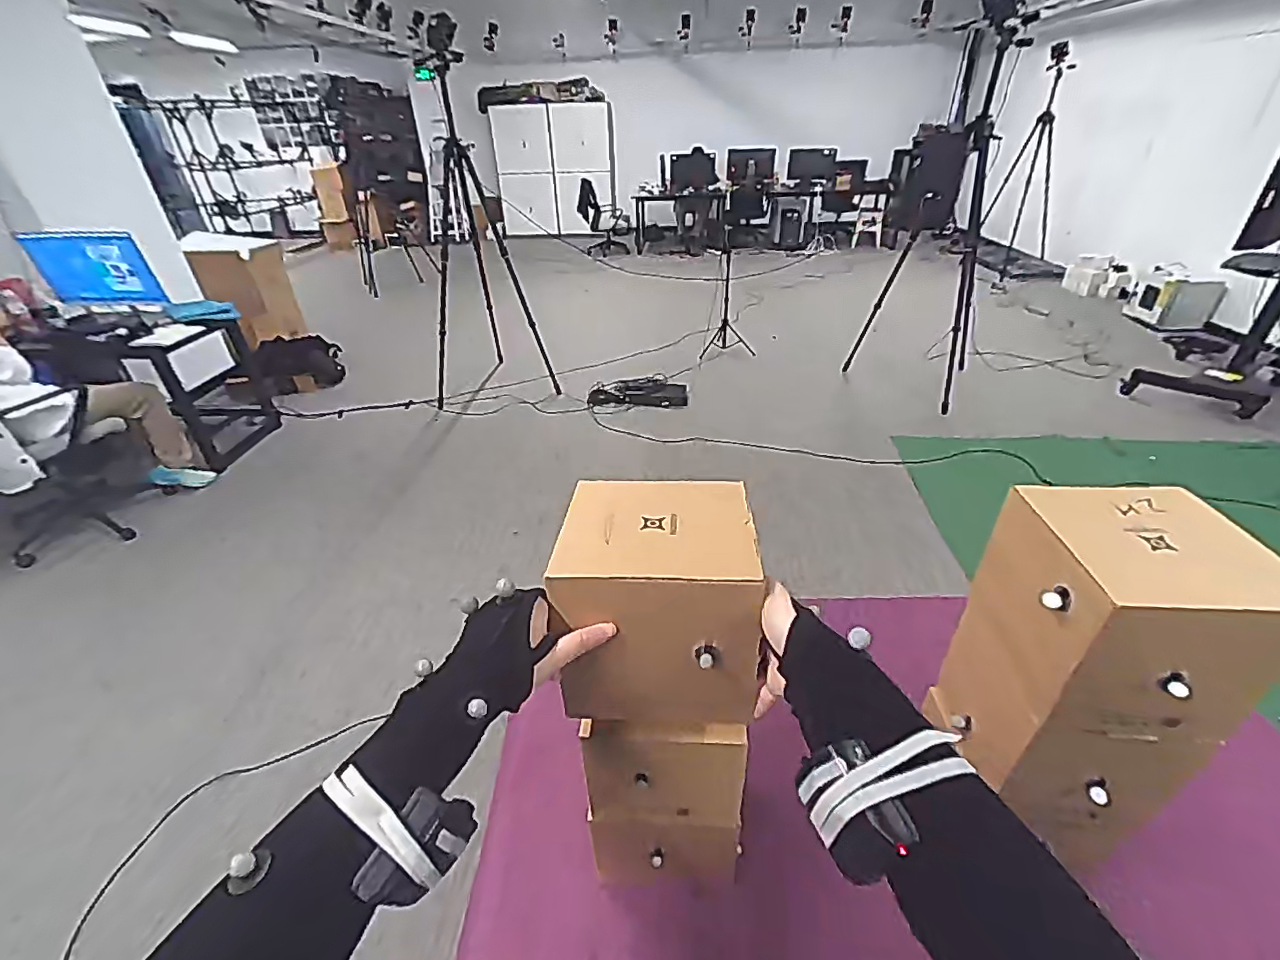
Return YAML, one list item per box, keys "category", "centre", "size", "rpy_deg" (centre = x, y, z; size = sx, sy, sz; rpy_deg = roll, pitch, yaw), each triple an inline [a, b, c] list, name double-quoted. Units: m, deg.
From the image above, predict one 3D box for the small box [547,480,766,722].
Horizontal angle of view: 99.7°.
- category: "small box"
  centre: [0.020, 0.114, 0.532]
  size: [0.179, 0.176, 0.168]
  rpy_deg: [1, 28, 5]

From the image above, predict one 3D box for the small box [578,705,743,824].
- category: "small box"
  centre: [0.029, 0.273, 0.636]
  size: [0.168, 0.176, 0.179]
  rpy_deg: [1, 32, 4]

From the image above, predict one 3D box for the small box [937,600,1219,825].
- category: "small box"
  centre: [0.473, 0.264, 0.623]
  size: [0.168, 0.176, 0.179]
  rpy_deg: [3, 34, 7]

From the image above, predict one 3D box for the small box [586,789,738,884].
- category: "small box"
  centre: [0.031, 0.411, 0.723]
  size: [0.179, 0.176, 0.168]
  rpy_deg: [0, 33, 4]

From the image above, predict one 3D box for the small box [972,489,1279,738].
- category: "small box"
  centre: [0.465, 0.126, 0.532]
  size: [0.168, 0.176, 0.179]
  rpy_deg: [2, 33, 6]
